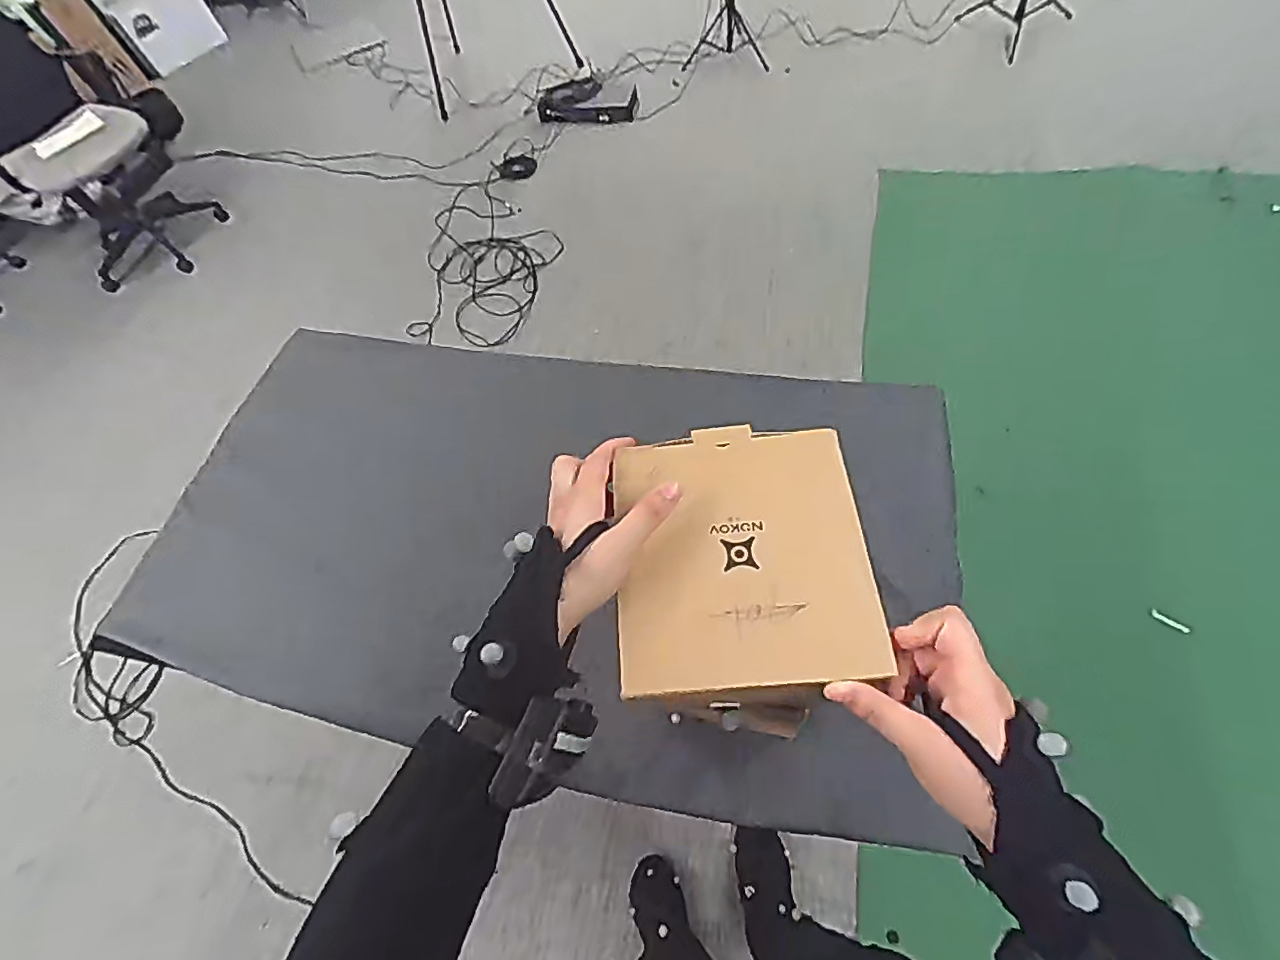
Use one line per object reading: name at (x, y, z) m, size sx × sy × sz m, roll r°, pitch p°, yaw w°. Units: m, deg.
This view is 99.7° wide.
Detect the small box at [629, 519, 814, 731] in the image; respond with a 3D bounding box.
small box at (0.097, 0.167, 0.607) m, size 0.168 × 0.176 × 0.179 m, roll 7°, pitch 59°, yaw 13°
